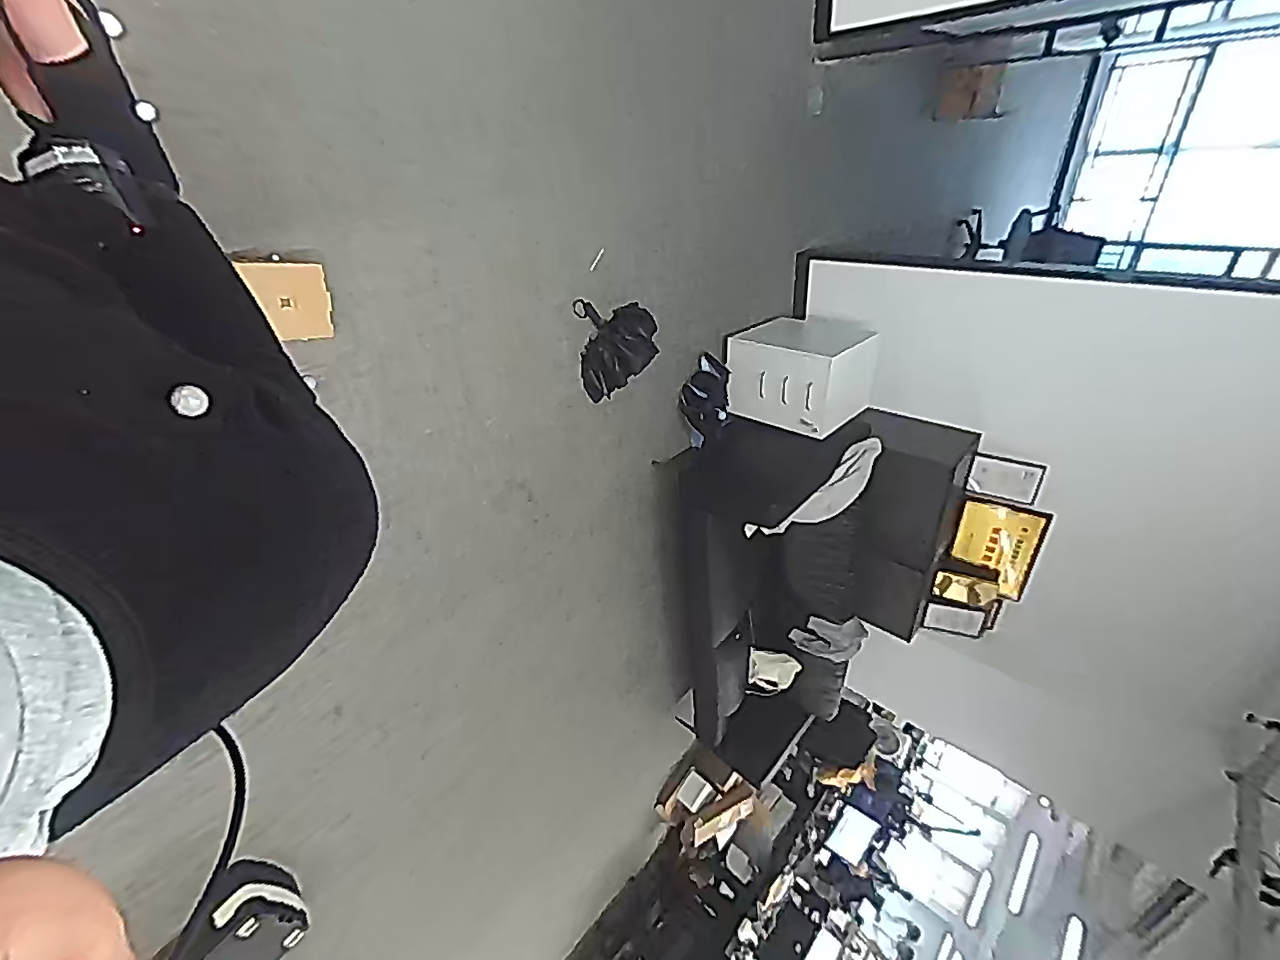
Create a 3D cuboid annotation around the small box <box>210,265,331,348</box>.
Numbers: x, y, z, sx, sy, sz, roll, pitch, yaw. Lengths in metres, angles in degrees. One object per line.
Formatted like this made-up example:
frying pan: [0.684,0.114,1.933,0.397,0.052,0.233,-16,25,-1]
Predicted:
small box: [-0.857,-0.410,1.259,0.179,0.176,0.168,-22,123,-43]
